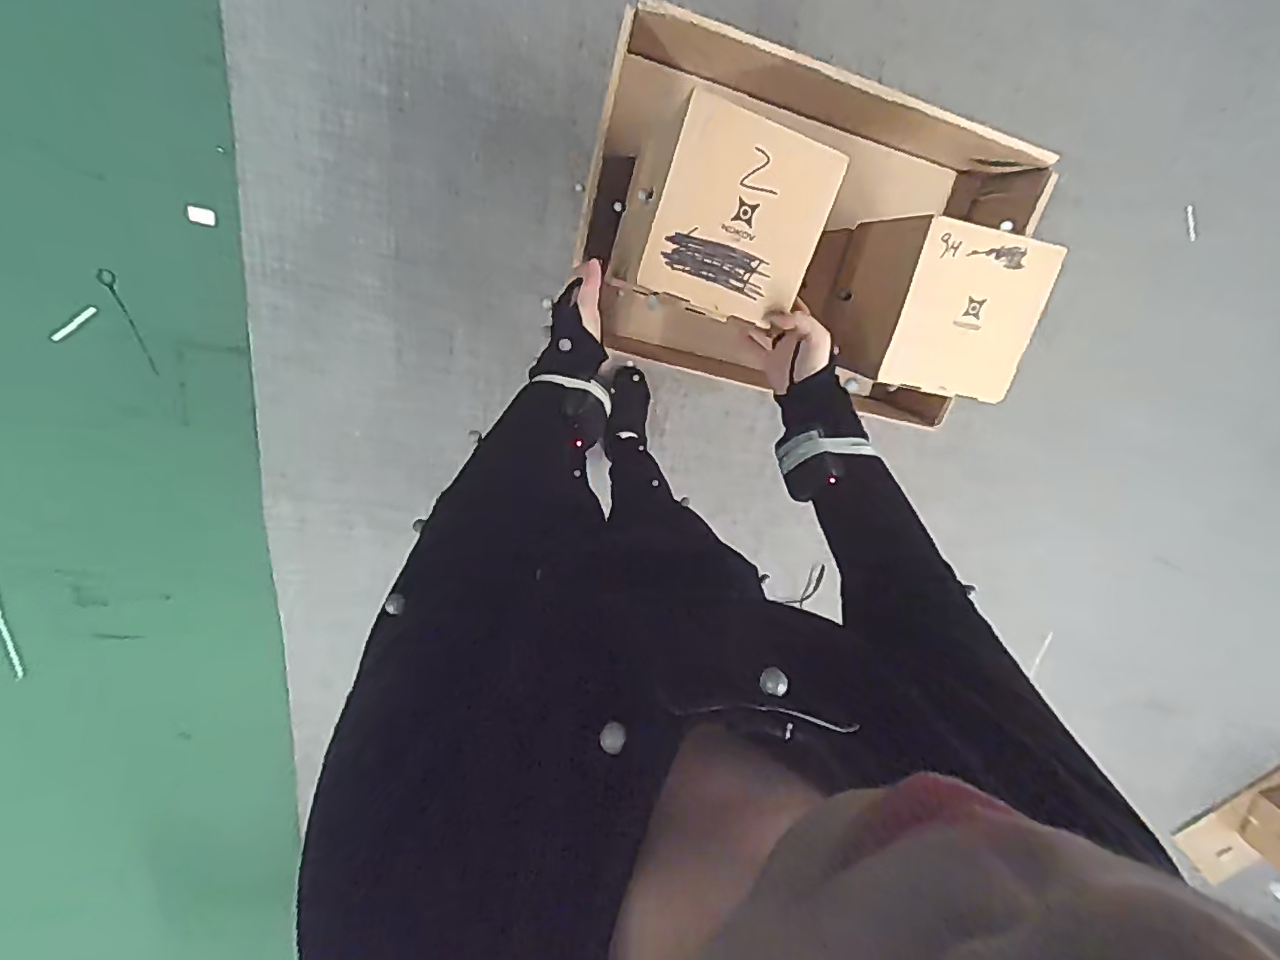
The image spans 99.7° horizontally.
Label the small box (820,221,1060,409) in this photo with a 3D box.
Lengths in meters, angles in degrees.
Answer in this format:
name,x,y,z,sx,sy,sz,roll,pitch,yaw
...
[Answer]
name,x,y,z,sx,sy,sz,roll,pitch,yaw
small box,0.348,-0.206,0.670,0.168,0.176,0.179,8,111,-12
